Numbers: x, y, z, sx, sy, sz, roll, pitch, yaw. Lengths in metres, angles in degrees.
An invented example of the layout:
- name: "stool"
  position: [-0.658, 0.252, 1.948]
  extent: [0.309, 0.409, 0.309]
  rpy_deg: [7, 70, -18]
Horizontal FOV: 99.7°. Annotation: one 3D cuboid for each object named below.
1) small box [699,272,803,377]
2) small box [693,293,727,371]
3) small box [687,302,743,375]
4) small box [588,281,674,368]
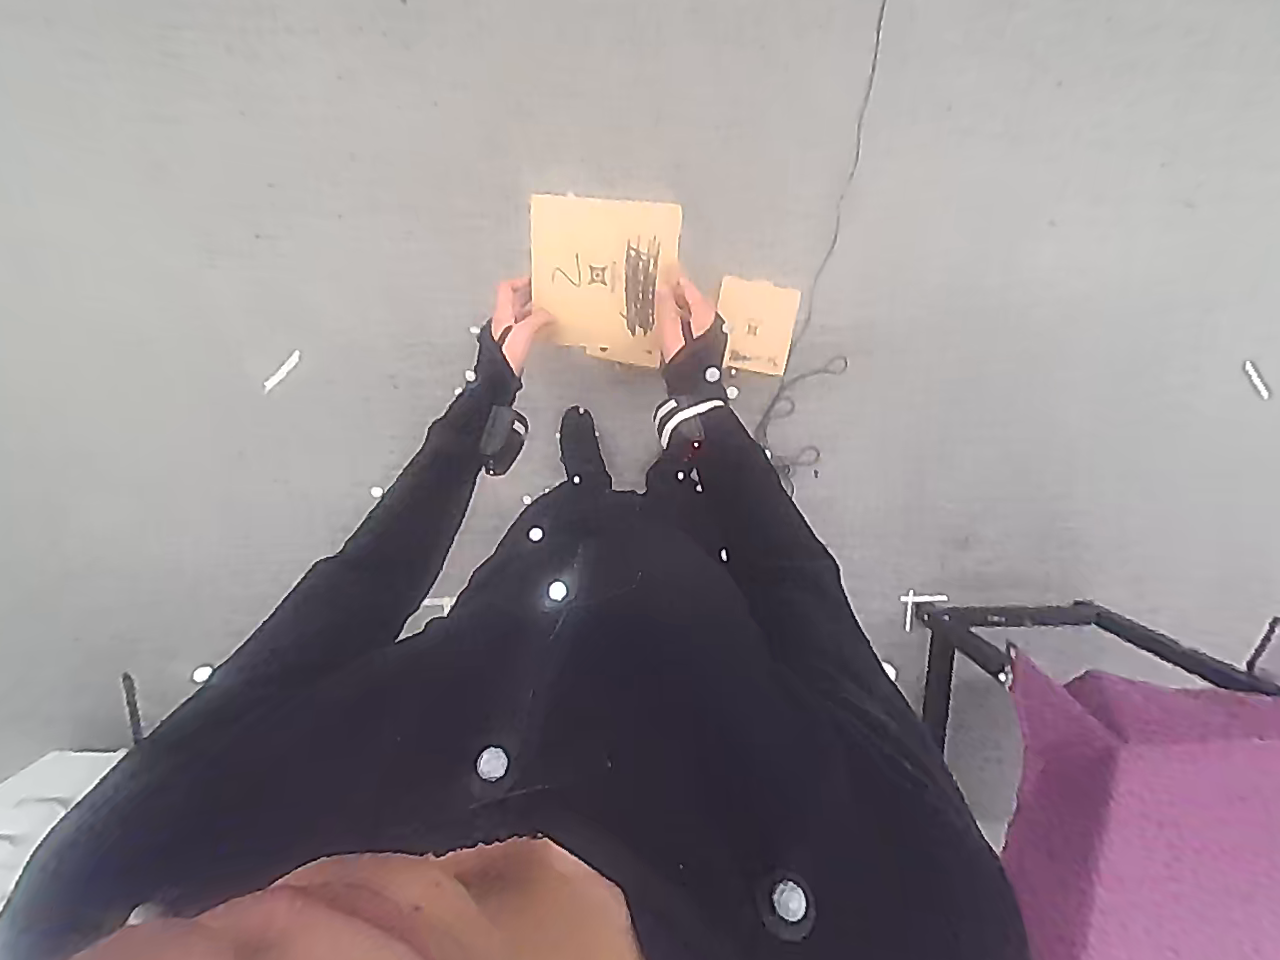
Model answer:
- name: "small box"
  position: [0.231, -0.328, 1.172]
  extent: [0.168, 0.176, 0.179]
  rpy_deg: [10, 98, -3]
- name: "small box"
  position: [0.229, -0.356, 1.334]
  extent: [0.179, 0.176, 0.168]
  rpy_deg: [3, 99, -2]
- name: "small box"
  position: [0.223, -0.384, 1.493]
  extent: [0.168, 0.176, 0.179]
  rpy_deg: [2, 100, -1]
- name: "small box"
  position: [-0.024, -0.371, 1.318]
  extent: [0.179, 0.176, 0.168]
  rpy_deg: [10, 99, -3]
